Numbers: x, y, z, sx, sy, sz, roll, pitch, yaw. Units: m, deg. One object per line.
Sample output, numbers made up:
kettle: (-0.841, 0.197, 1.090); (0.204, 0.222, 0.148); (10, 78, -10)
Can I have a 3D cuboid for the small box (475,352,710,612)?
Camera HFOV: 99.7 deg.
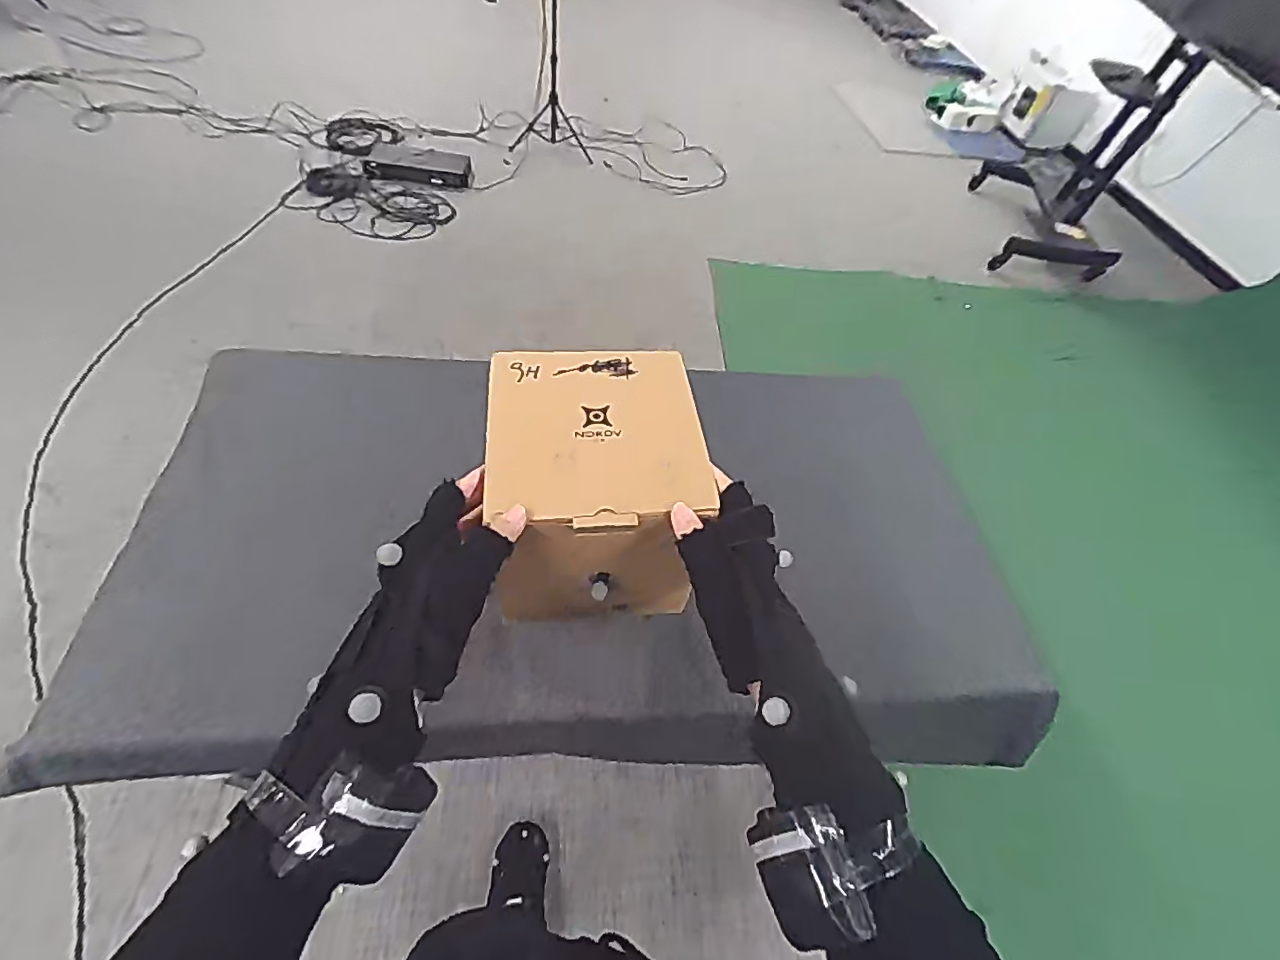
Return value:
small box: (-0.046, 0.008, 0.481); (0.168, 0.176, 0.179); (-2, 54, -9)
